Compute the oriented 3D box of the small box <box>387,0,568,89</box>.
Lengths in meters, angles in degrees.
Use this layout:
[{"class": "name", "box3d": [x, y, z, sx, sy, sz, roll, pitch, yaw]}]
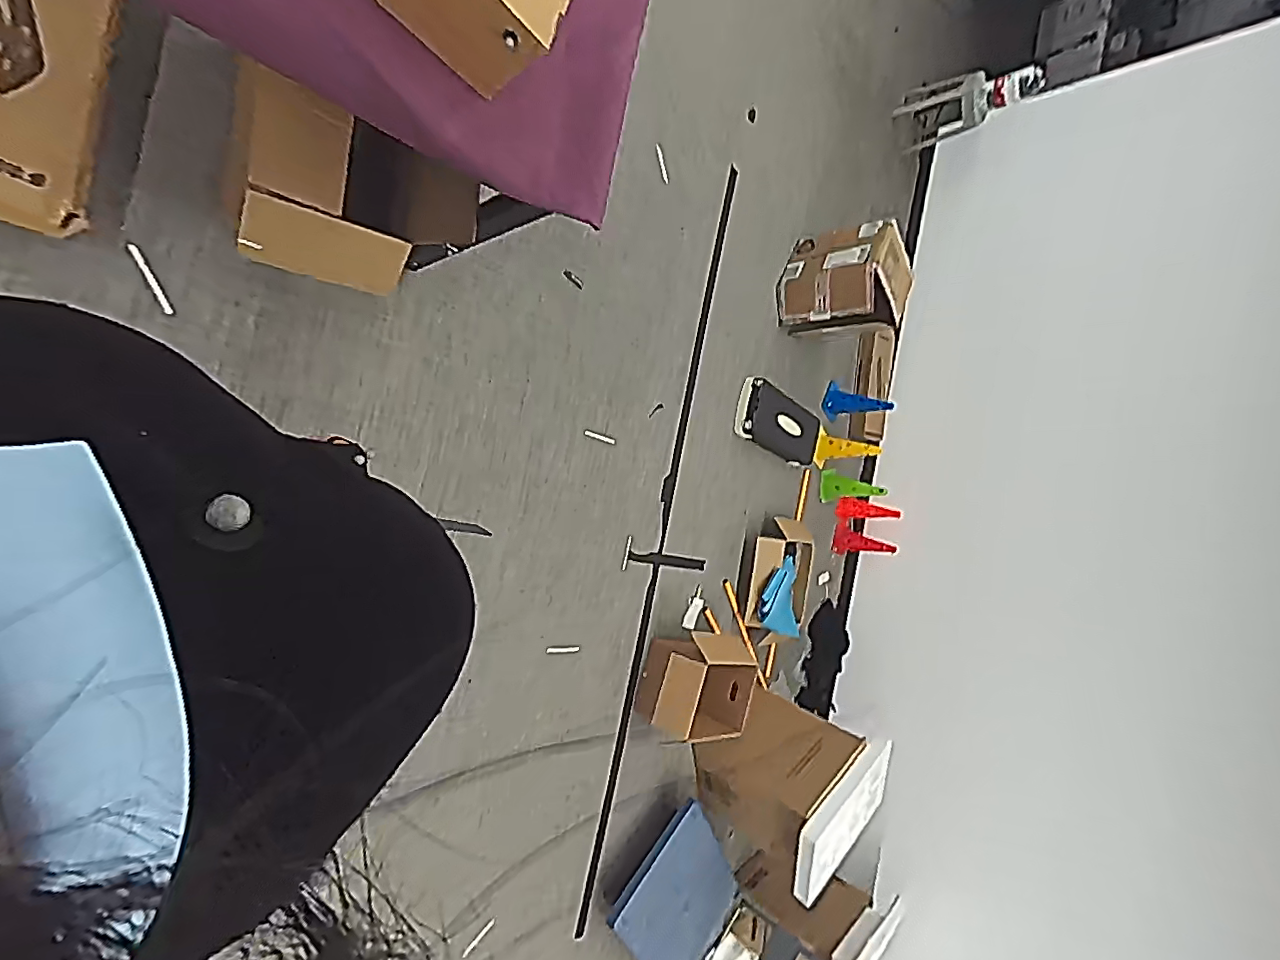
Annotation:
[{"class": "small box", "box3d": [-0.207, -0.667, 0.707, 0.179, 0.176, 0.168, 23, 80, -45]}]
